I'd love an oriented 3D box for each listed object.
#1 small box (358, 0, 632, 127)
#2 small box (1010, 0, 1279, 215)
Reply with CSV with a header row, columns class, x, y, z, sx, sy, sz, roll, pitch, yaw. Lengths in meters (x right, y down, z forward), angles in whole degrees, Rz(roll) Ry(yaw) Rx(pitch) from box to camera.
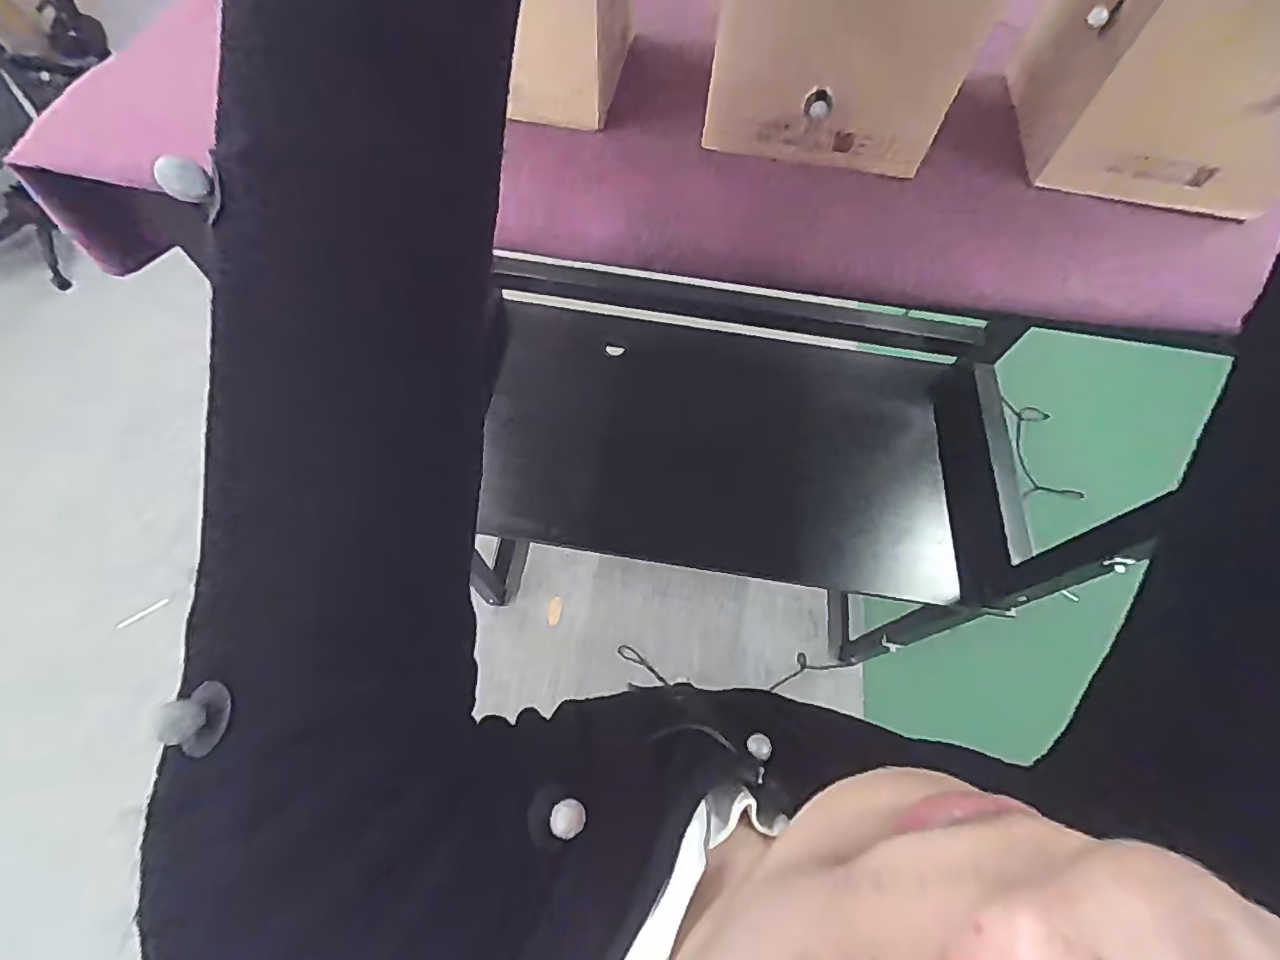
class,x,y,z,sx,sy,sz,roll,pitch,yaw
small box,-0.100,-0.397,0.399,0.179,0.176,0.168,10,62,2
small box,0.398,-0.319,0.378,0.168,0.176,0.179,13,61,4
